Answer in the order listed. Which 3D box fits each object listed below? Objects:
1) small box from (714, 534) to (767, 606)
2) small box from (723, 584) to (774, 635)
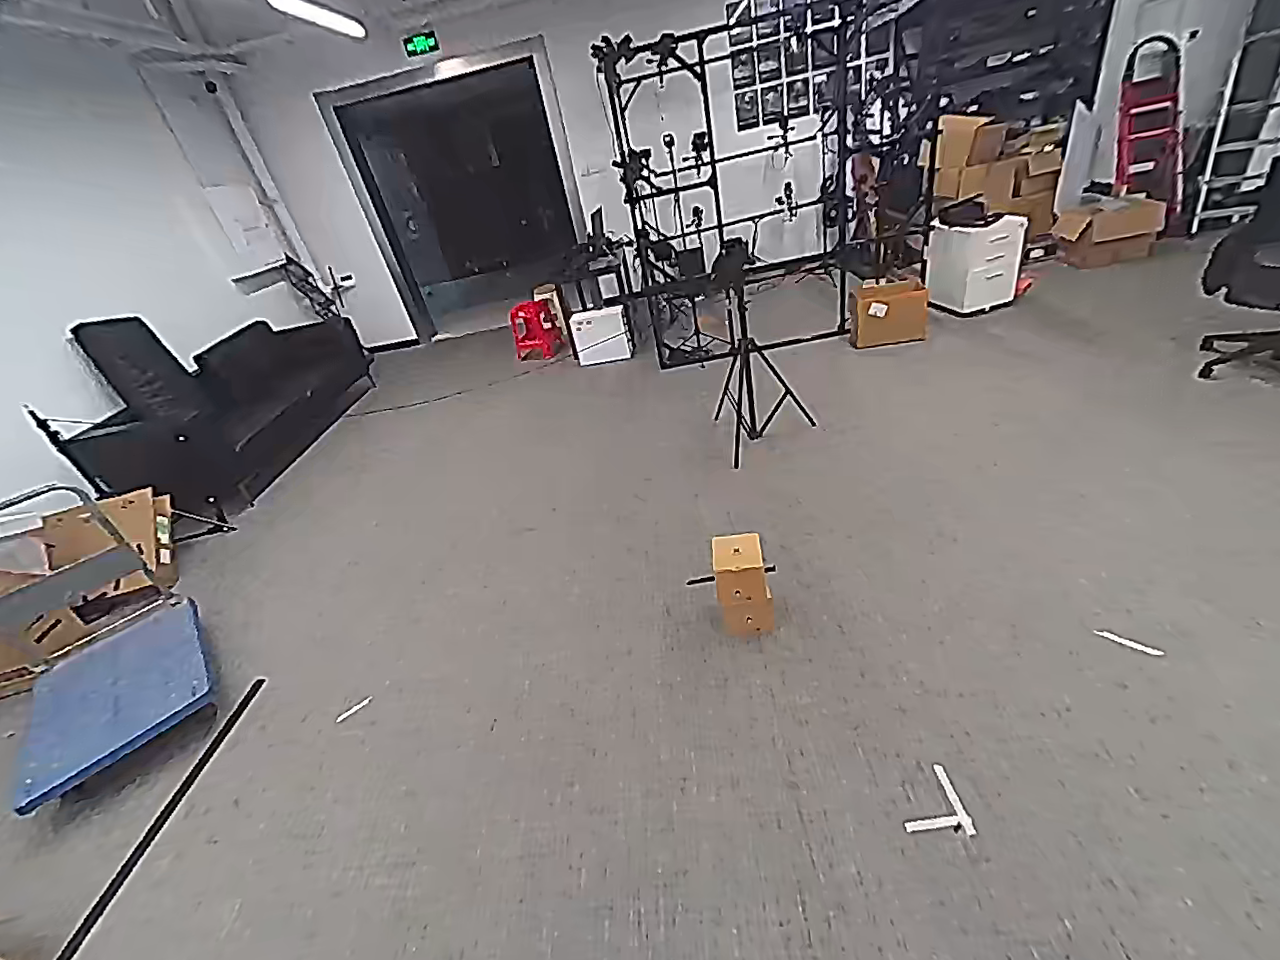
[{"bbox_3d":[0.348,0.314,1.885,0.168,0.176,0.179,-7,33,10],"label":"small box"},{"bbox_3d":[0.387,0.446,1.973,0.168,0.176,0.179,-10,31,4],"label":"small box"}]
